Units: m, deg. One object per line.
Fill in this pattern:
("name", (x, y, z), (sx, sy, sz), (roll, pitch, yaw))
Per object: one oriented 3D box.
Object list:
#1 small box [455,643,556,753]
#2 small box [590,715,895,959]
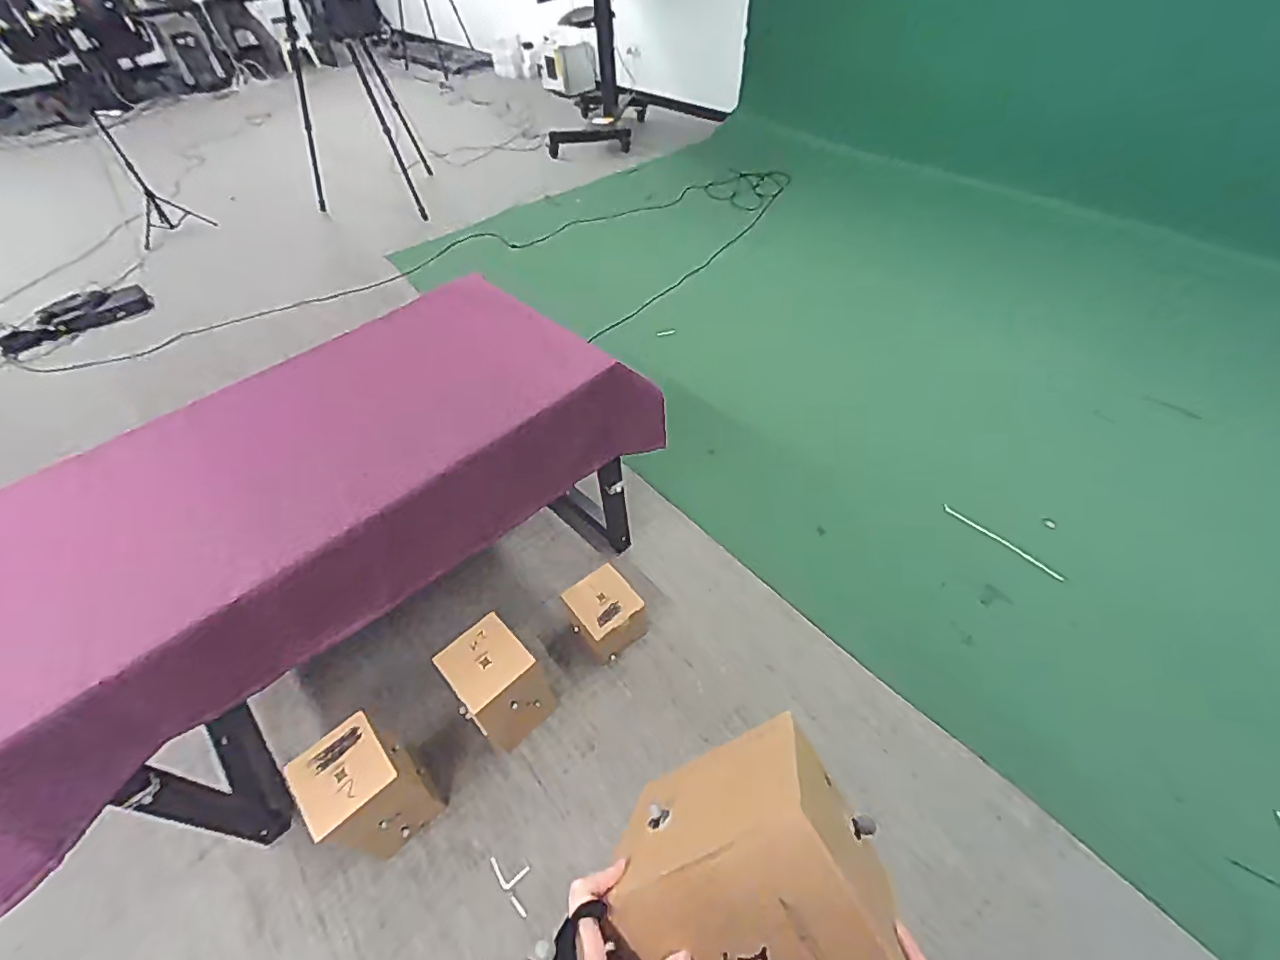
("small box", (-0.338, 0.565, 1.392), (0.179, 0.176, 0.168), (-36, 56, -24))
("small box", (0.092, 0.337, 0.457), (0.179, 0.176, 0.168), (-34, 82, 11))
